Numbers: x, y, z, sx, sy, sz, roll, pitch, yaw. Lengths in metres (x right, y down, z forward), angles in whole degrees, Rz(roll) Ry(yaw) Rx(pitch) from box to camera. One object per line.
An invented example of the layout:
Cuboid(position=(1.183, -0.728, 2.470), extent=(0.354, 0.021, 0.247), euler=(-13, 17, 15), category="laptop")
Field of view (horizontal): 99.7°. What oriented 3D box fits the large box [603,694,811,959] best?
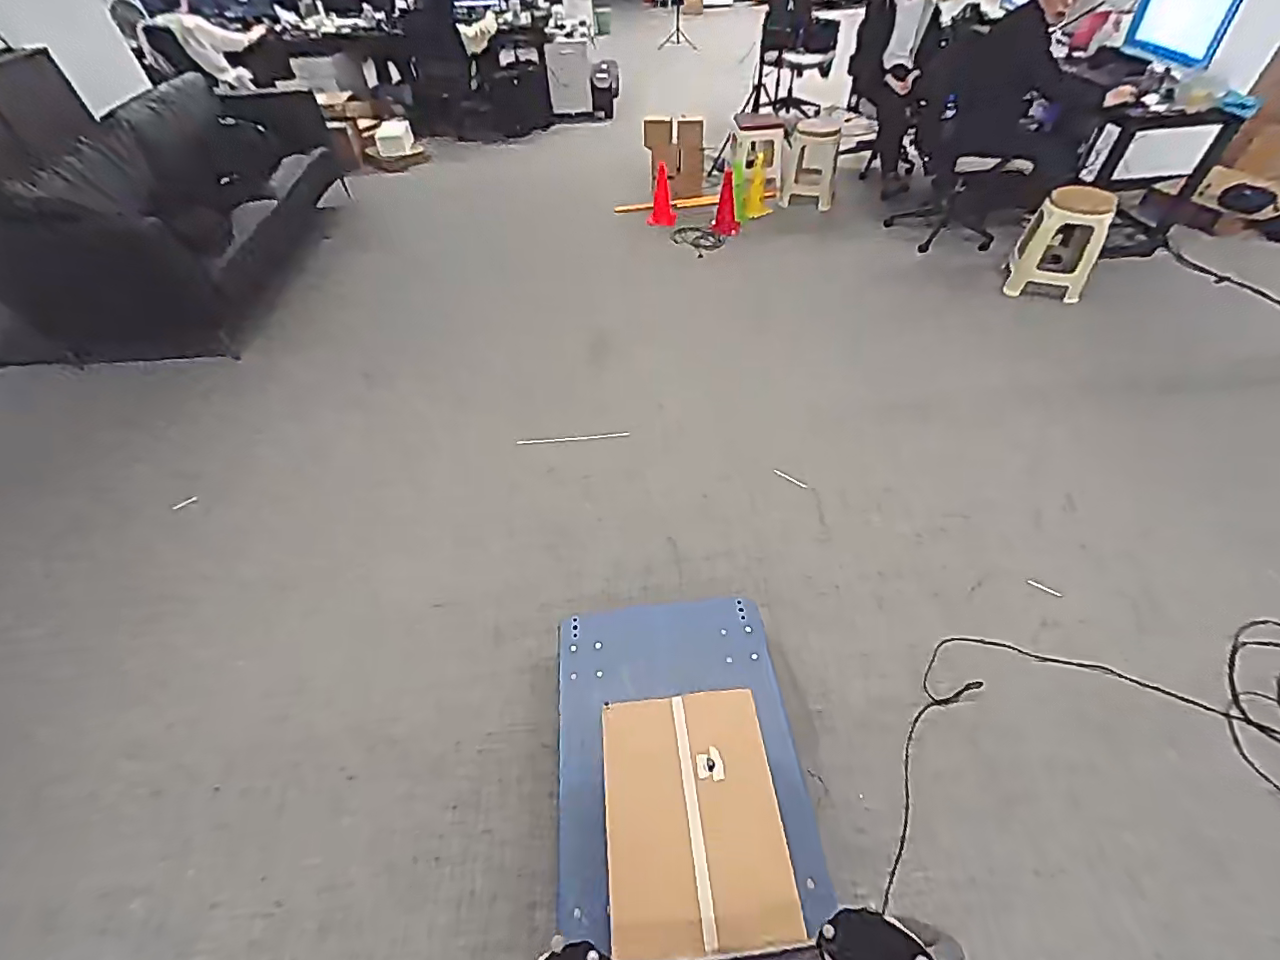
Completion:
Cuboid(position=(0.106, 0.703, 1.080), extent=(0.320, 0.320, 0.408), euler=(-6, 47, -2), category="large box")
